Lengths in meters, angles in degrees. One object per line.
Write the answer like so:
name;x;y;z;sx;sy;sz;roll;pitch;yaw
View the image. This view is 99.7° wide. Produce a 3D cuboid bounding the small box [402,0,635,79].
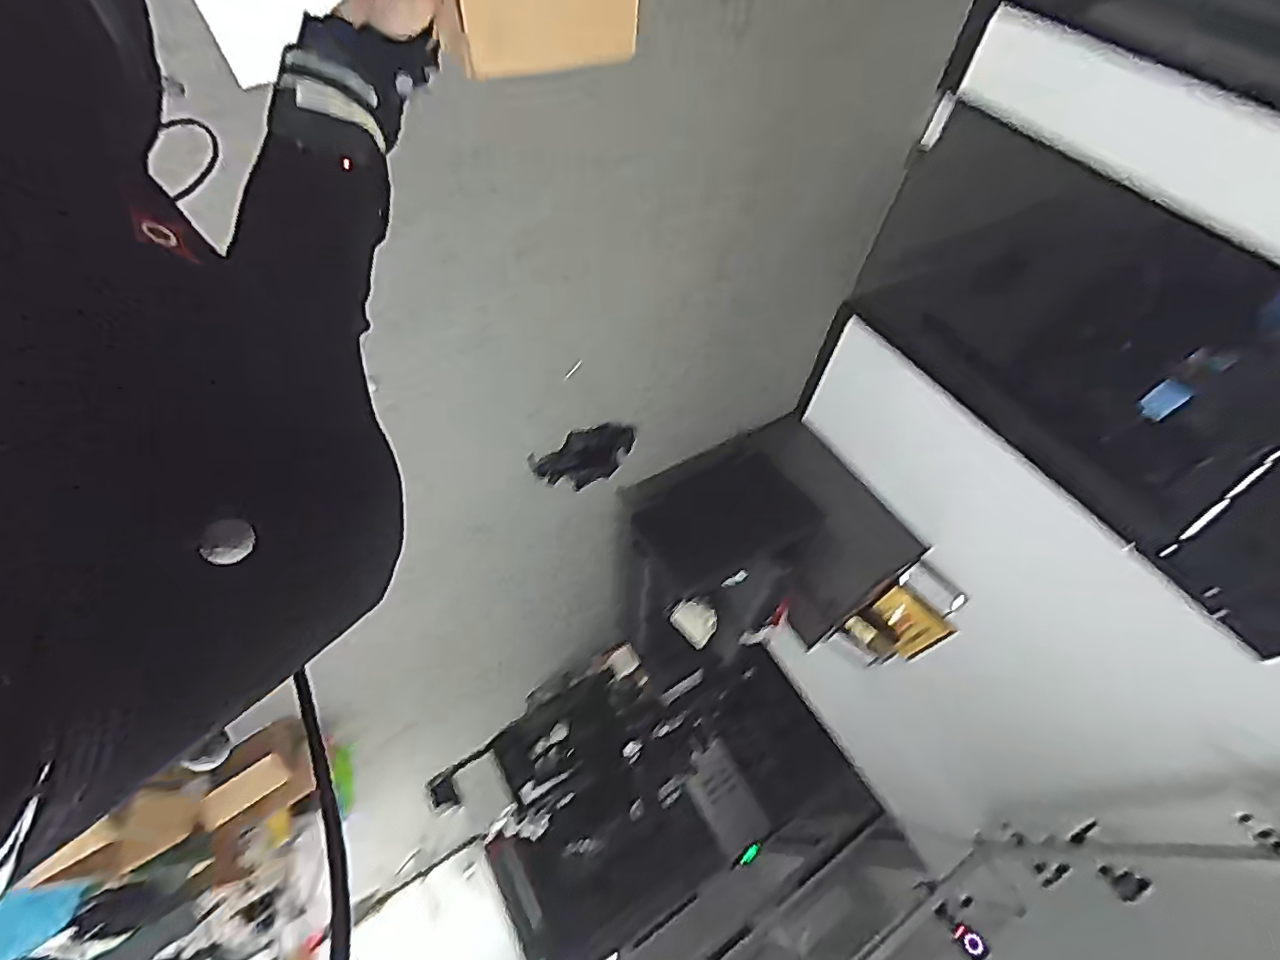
small box;-0.117;-0.490;0.479;0.179;0.176;0.168;-26;153;-23
